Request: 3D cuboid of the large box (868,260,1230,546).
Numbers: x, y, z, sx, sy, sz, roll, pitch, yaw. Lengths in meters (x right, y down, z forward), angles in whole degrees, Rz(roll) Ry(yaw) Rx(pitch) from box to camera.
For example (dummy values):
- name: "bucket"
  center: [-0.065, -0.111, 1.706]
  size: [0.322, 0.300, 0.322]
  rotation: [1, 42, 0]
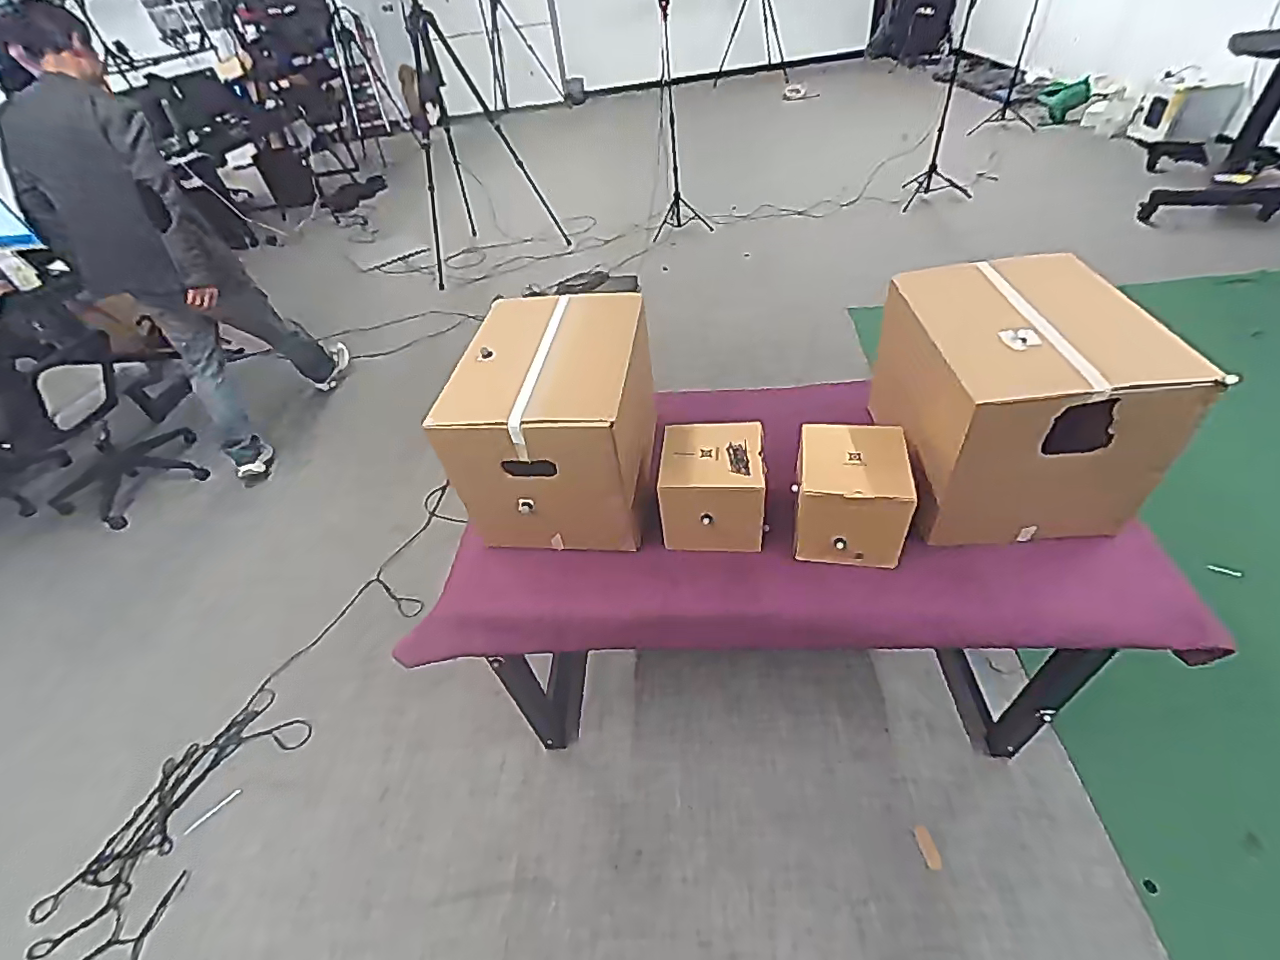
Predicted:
- name: "large box"
  center: [0.633, -0.140, 0.953]
  size: [0.320, 0.320, 0.408]
  rotation: [-5, 45, 8]
